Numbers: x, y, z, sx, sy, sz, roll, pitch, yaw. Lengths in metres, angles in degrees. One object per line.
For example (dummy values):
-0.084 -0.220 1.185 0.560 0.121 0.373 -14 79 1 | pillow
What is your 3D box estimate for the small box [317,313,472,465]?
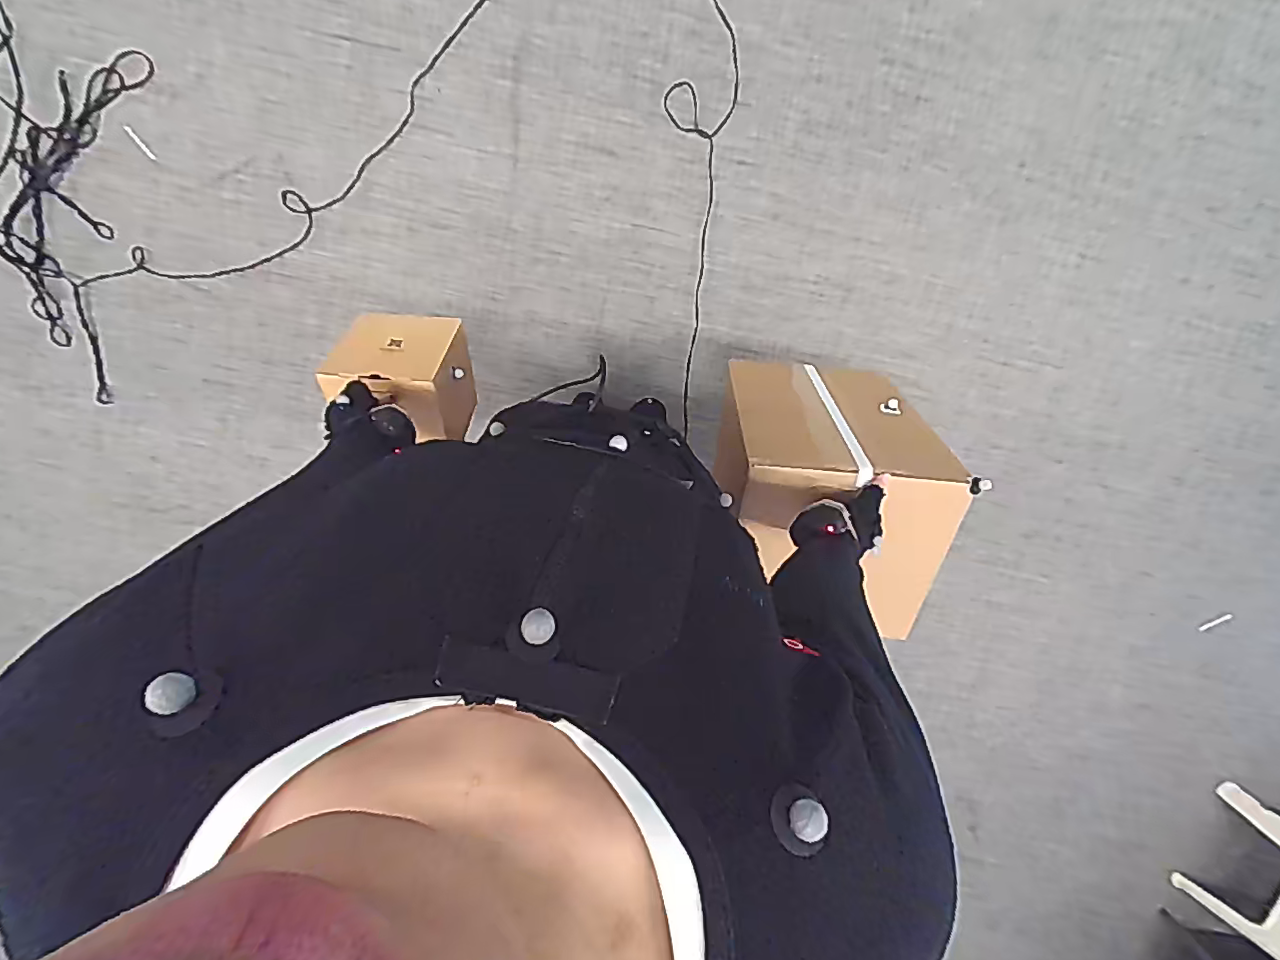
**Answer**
-0.380 -0.148 0.877 0.168 0.179 0.176 3 137 -3 | small box
